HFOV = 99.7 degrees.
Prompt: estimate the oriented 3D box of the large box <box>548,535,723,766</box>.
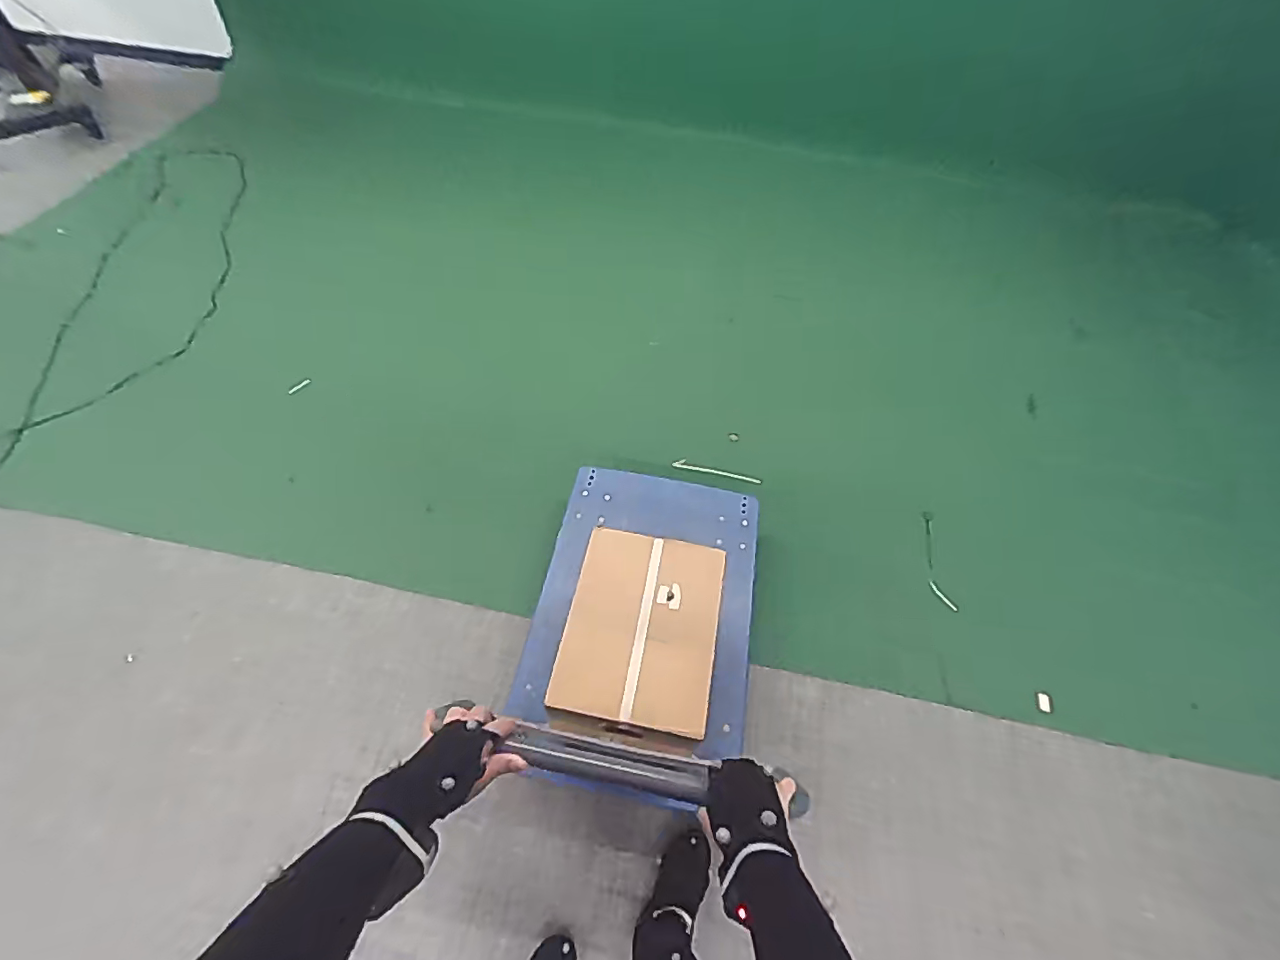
[{"bbox_3d":[0.001,0.396,1.250,0.320,0.320,0.408,11,55,4],"label":"large box"}]
